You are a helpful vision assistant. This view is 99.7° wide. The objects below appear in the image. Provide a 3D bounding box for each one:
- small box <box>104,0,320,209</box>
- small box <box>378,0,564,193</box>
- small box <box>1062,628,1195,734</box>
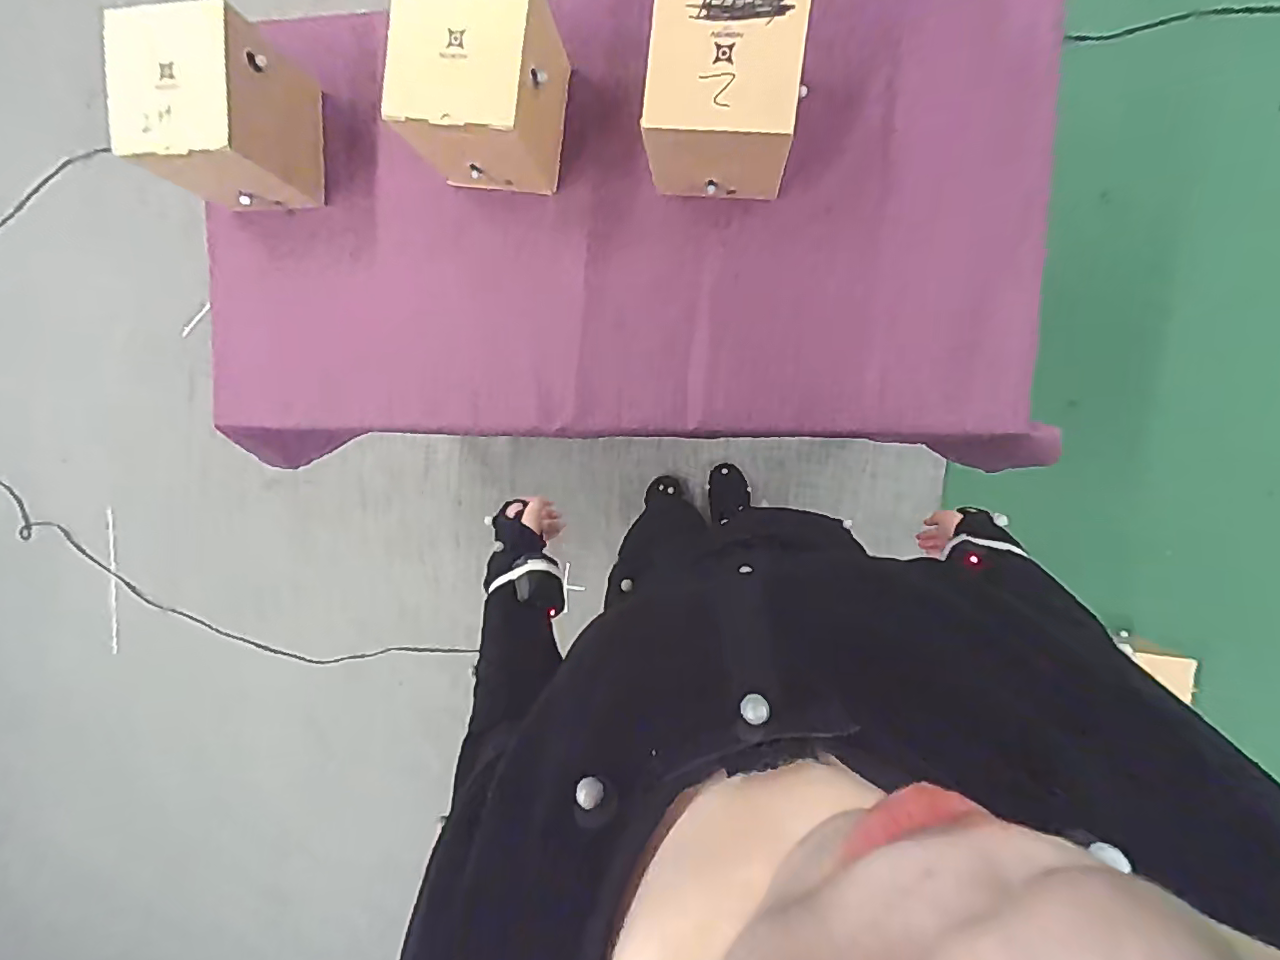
[{"bbox_3d":[-0.569,-0.496,0.739,0.168,0.176,0.179,2,95,7],"label":"small box"},{"bbox_3d":[-0.204,-0.502,0.694,0.168,0.176,0.179,9,96,7],"label":"small box"},{"bbox_3d":[1.172,0.480,1.314,0.168,0.176,0.179,7,94,7],"label":"small box"}]
